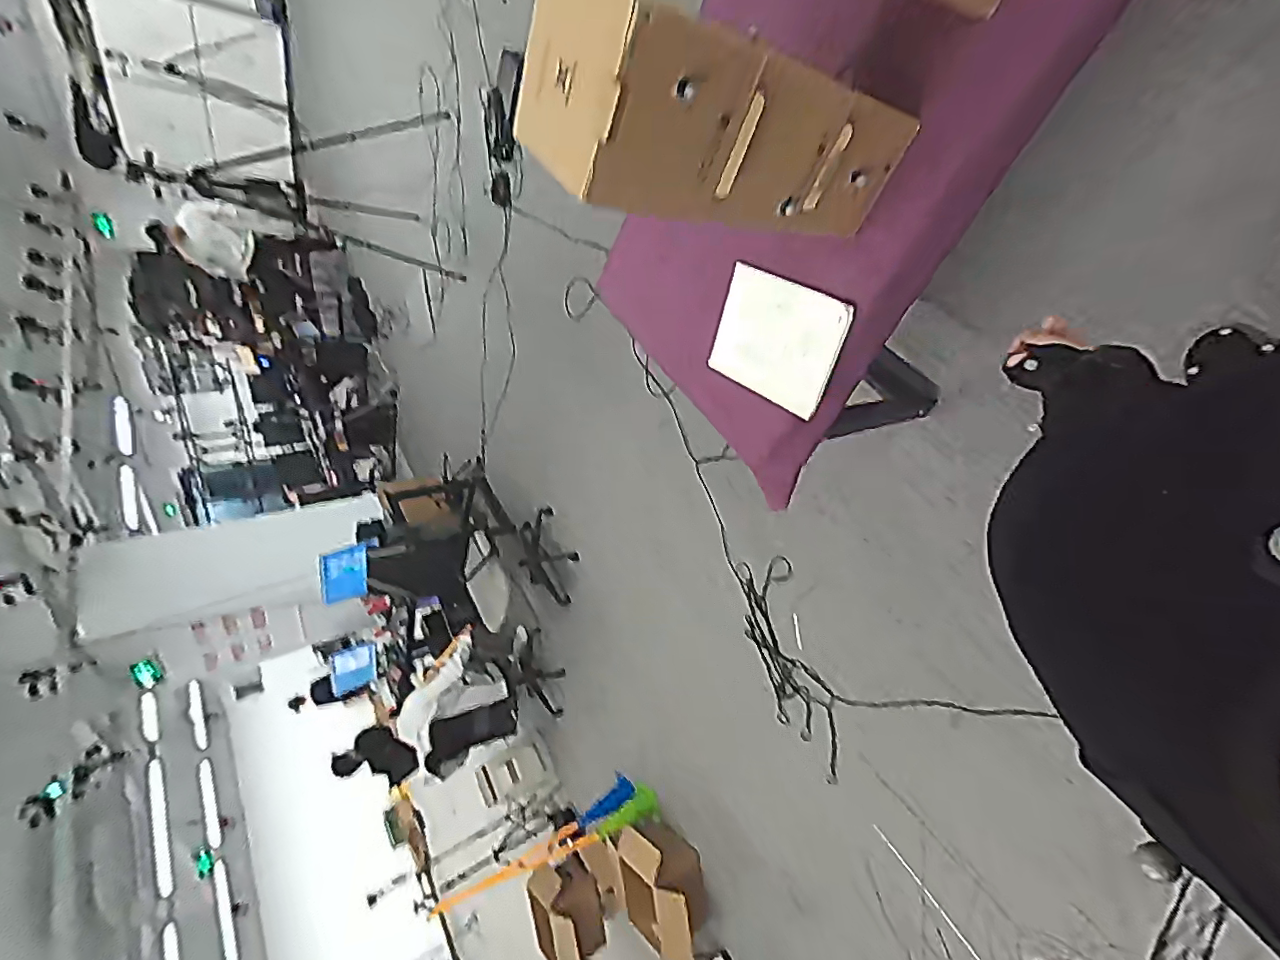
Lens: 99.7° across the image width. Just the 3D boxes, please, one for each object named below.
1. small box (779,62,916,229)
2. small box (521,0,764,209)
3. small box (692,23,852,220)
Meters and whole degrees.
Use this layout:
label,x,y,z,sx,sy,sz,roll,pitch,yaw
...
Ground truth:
label,x,y,z,sx,sy,sz,roll,pitch,yaw
small box,0.250,-0.479,0.776,0.179,0.176,0.168,53,137,28
small box,-0.002,-0.411,0.578,0.179,0.176,0.168,54,138,29
small box,0.124,-0.444,0.676,0.179,0.176,0.168,54,138,30
